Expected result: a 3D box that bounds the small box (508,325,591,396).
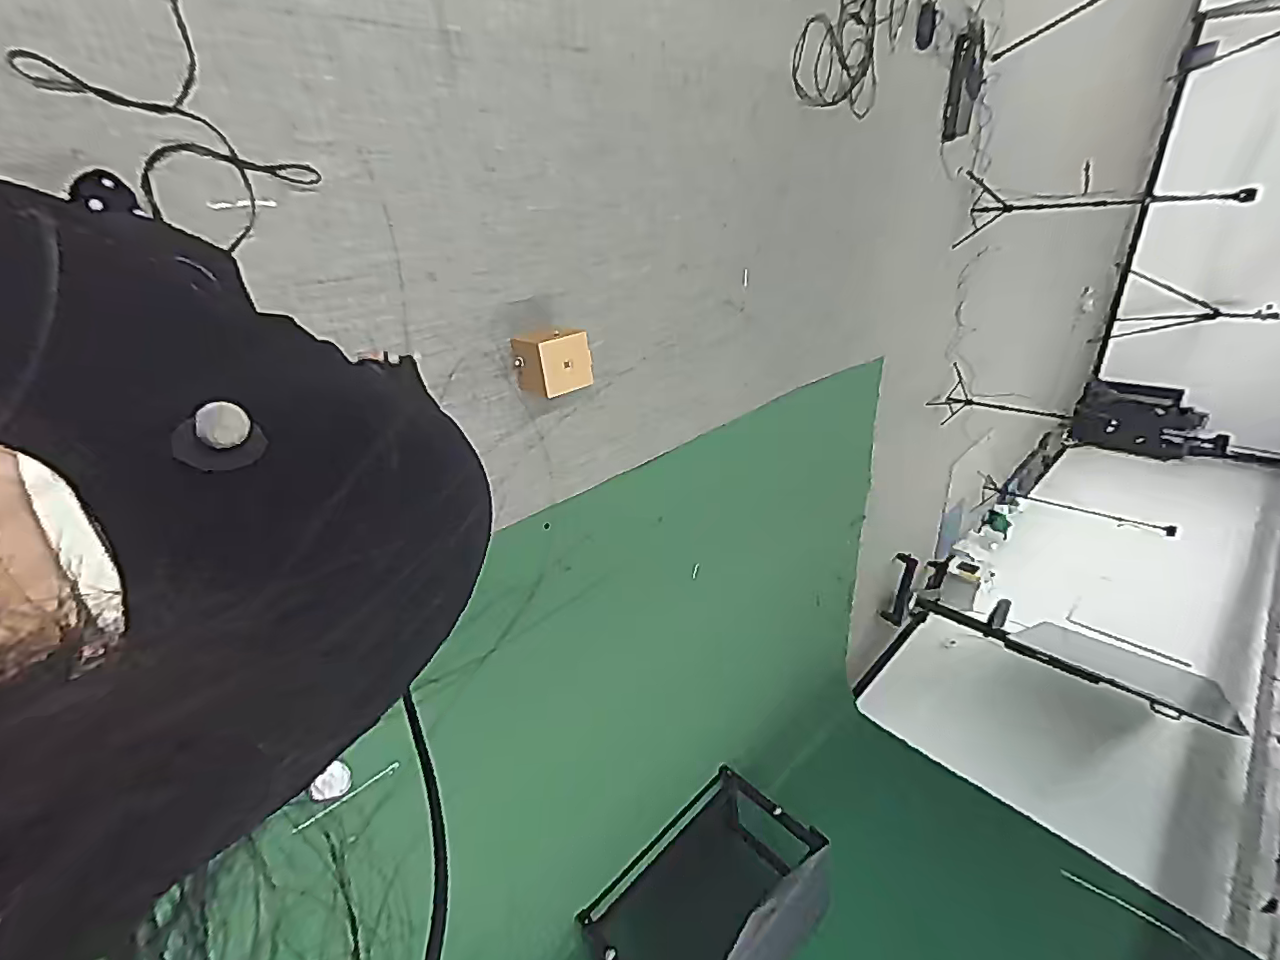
[{"bbox_3d":[-0.276,-0.373,1.657,0.179,0.176,0.168,-27,123,-33],"label":"small box"}]
